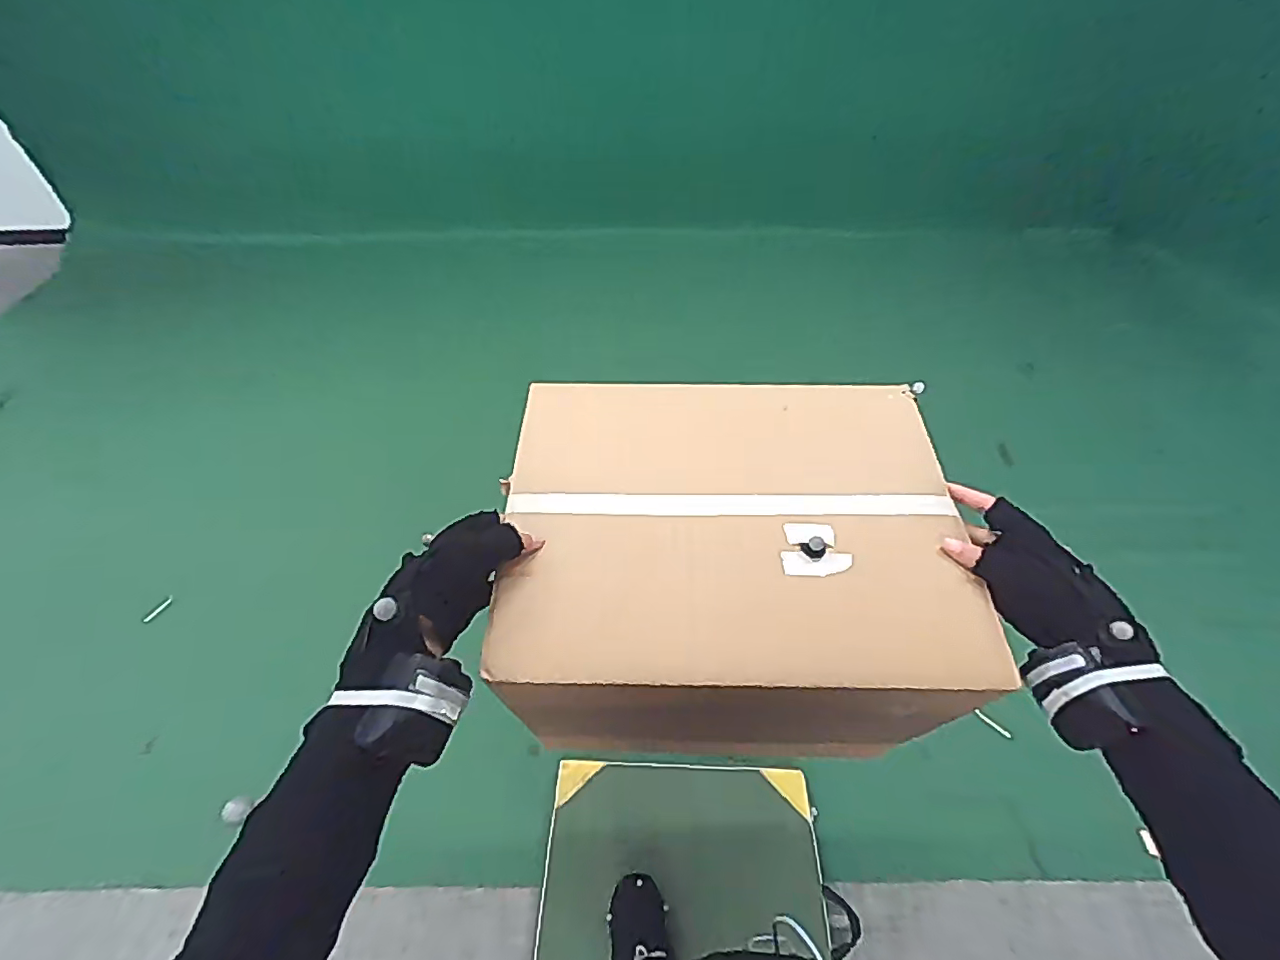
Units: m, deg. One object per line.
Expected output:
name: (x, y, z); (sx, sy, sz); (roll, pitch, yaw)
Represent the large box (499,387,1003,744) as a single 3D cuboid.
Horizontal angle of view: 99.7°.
large box: (0.085, 0.109, 0.625); (0.408, 0.320, 0.320); (1, 55, 0)
